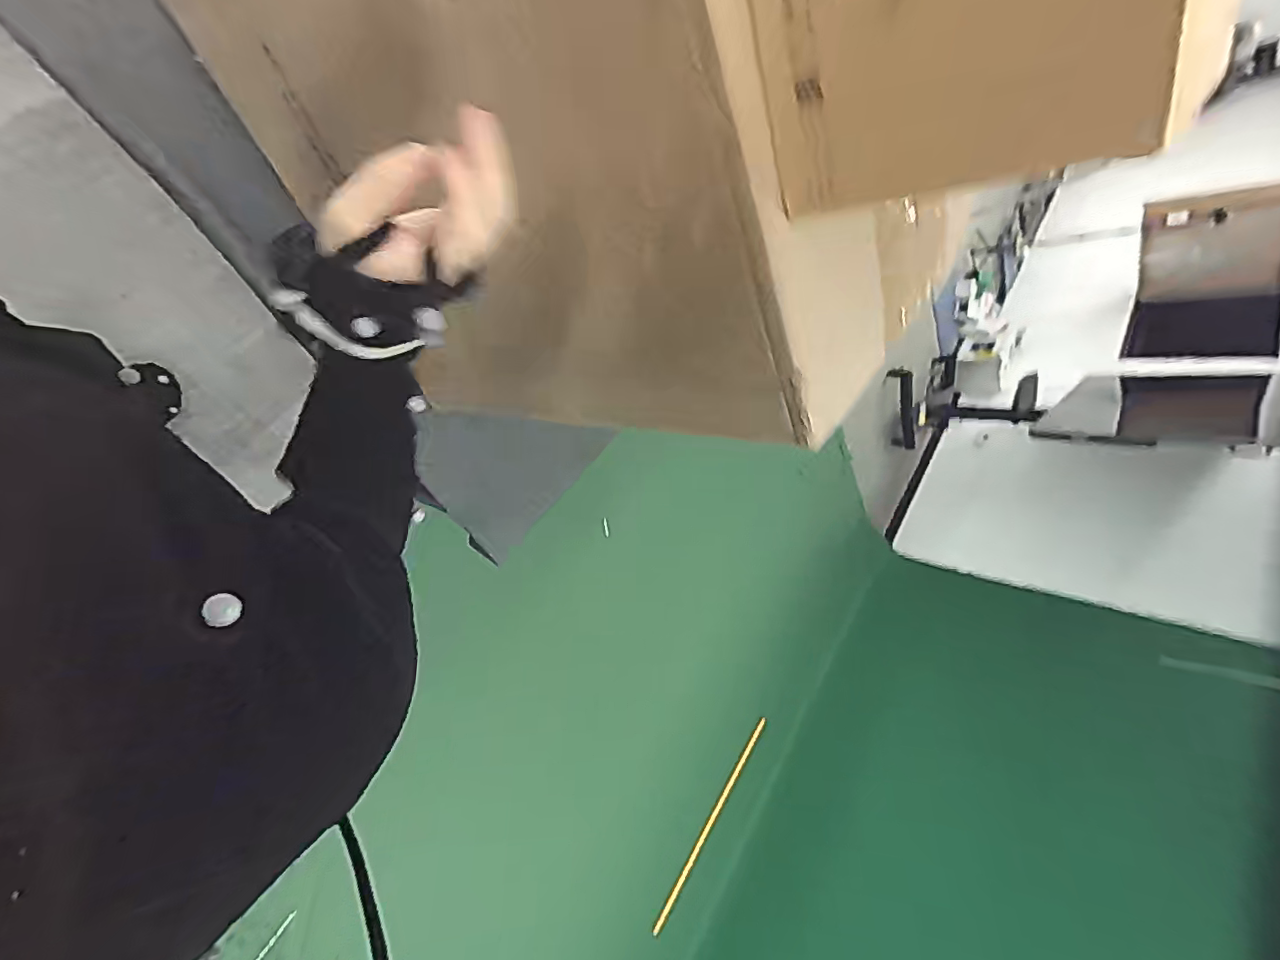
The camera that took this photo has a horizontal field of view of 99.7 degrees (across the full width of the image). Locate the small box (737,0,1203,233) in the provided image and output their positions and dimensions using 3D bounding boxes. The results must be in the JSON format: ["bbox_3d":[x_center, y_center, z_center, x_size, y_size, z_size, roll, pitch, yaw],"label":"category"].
[{"bbox_3d":[0.163,-0.242,0.274,0.179,0.176,0.168,-40,126,-31],"label":"small box"}]
